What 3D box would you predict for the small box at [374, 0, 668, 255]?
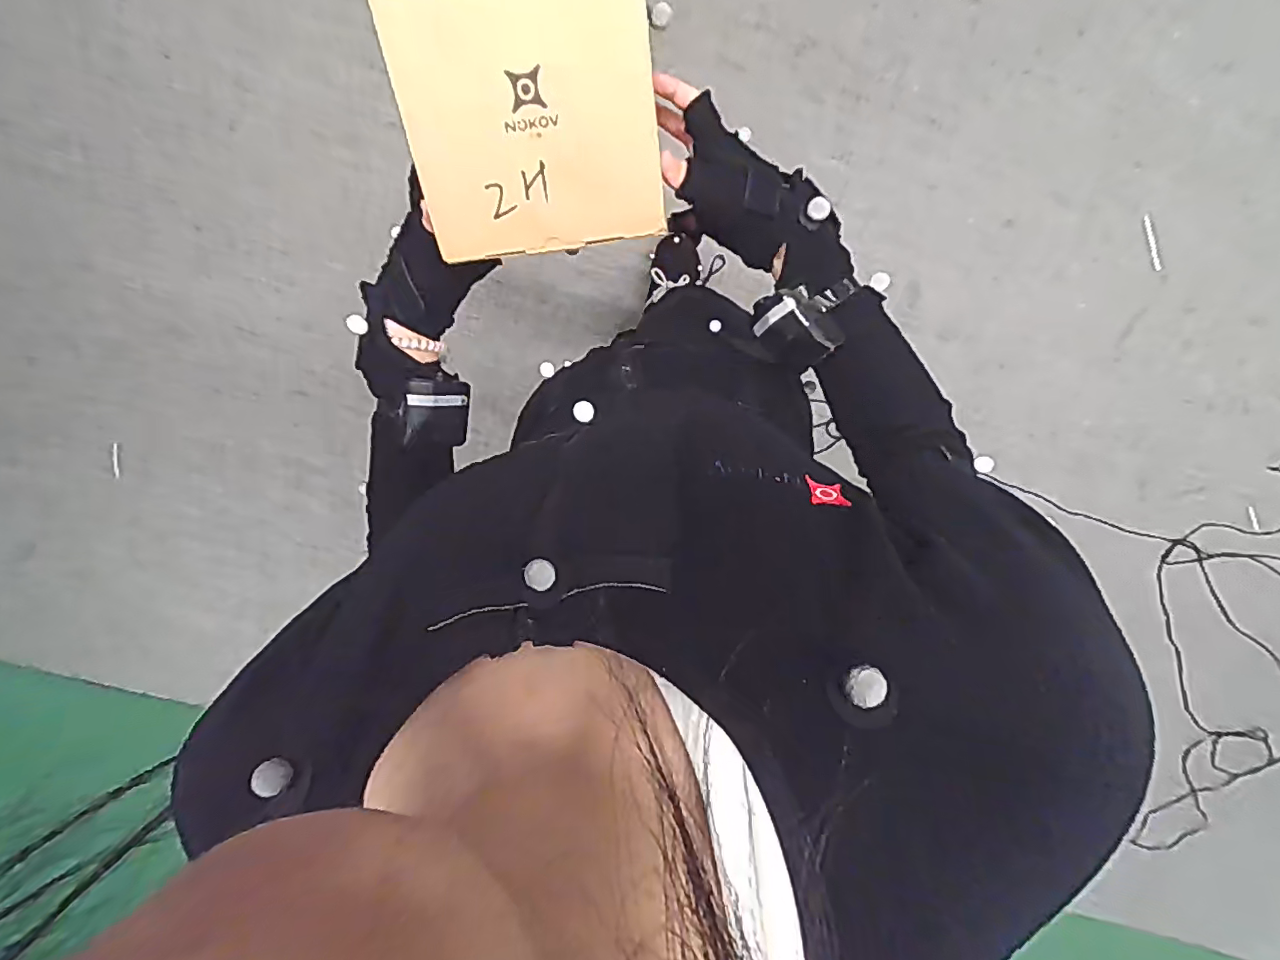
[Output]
[{"bbox_3d":[-0.071,-0.280,0.410,0.168,0.176,0.179,-6,120,3],"label":"small box"}]
